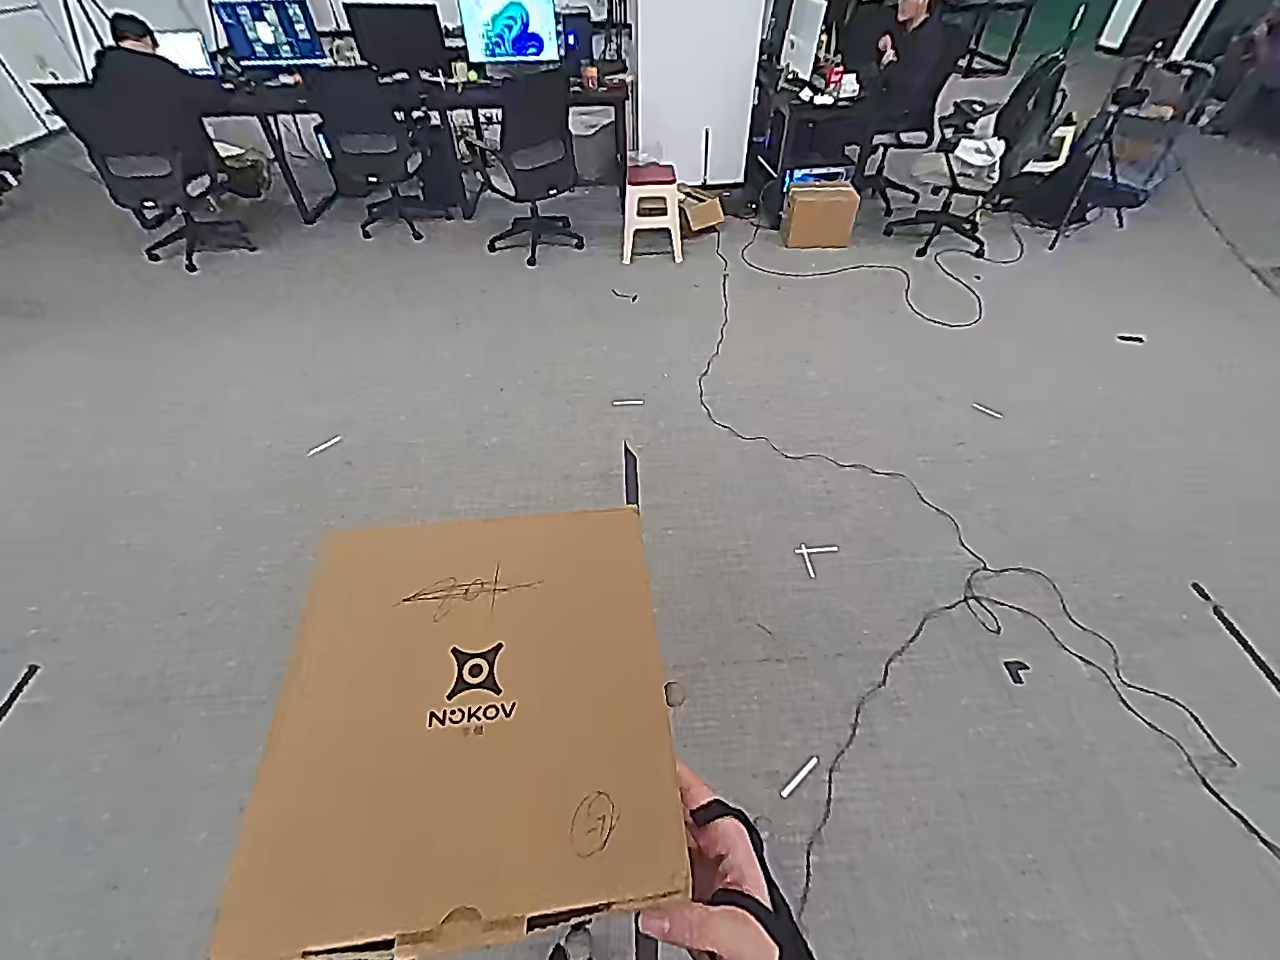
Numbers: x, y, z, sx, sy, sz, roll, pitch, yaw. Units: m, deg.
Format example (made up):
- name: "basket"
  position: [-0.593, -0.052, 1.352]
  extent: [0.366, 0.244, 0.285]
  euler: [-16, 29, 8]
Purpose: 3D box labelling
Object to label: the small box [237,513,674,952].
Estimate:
- name: "small box"
  position: [-0.078, 0.143, 0.314]
  extent: [0.168, 0.176, 0.179]
  euler: [-4, 51, -7]
